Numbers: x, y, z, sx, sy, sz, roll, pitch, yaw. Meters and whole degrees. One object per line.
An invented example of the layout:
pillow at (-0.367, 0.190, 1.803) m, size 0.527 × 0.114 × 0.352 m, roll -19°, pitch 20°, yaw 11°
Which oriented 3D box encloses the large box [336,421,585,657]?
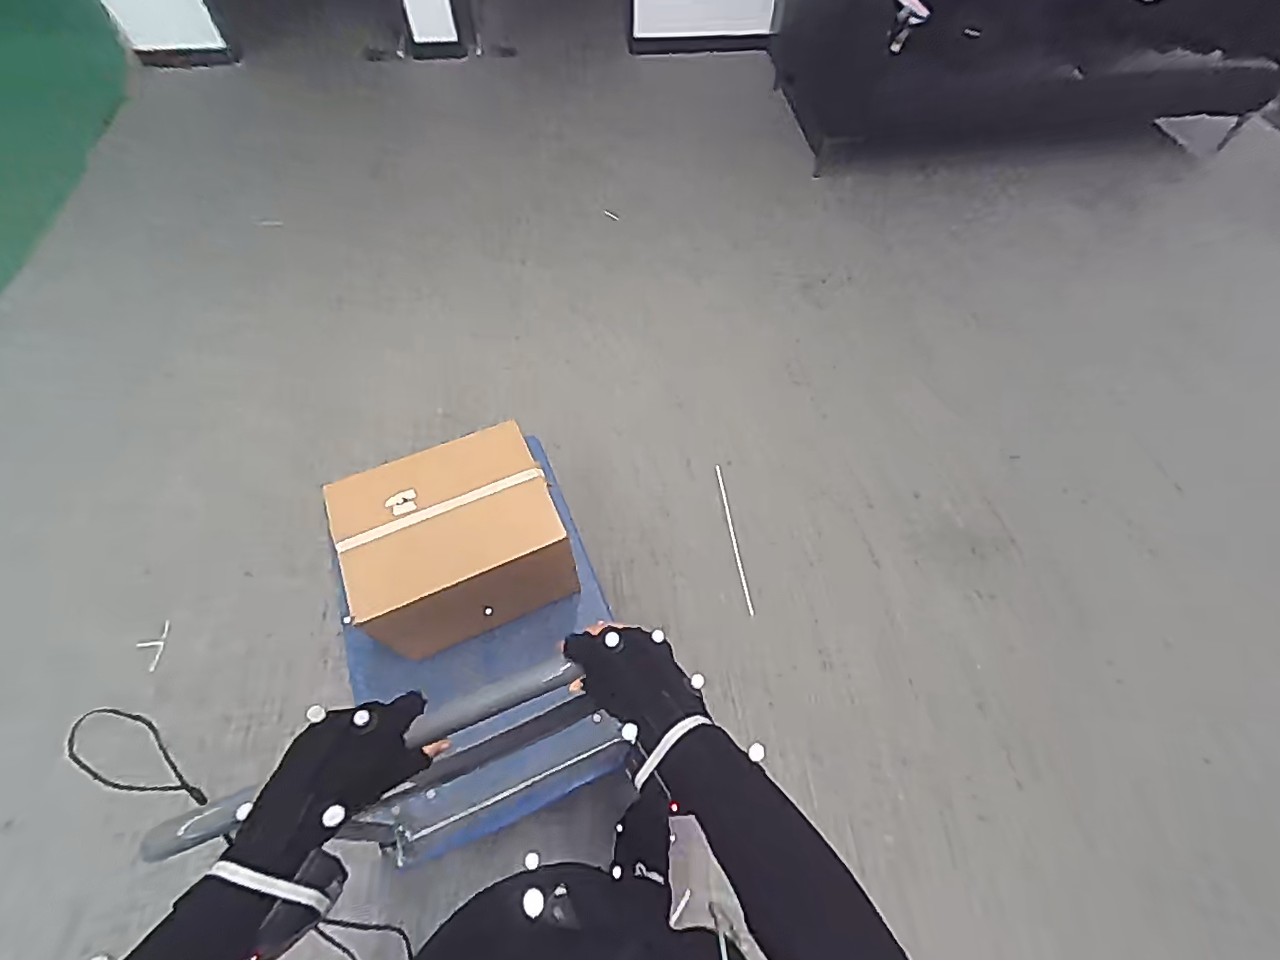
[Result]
large box at (-0.371, 0.136, 1.194) m, size 0.408 × 0.320 × 0.320 m, roll -22°, pitch 62°, yaw -13°
